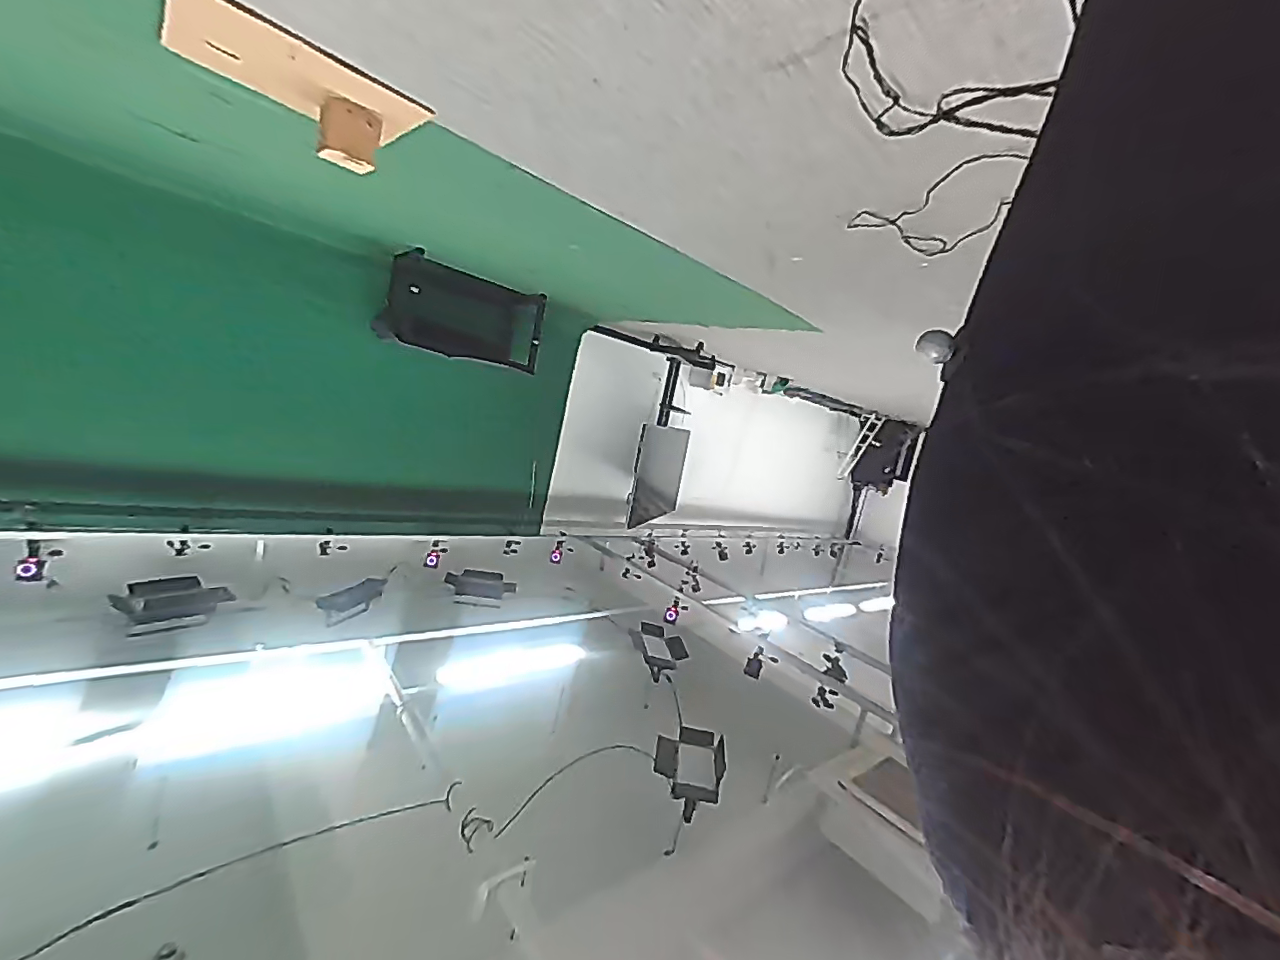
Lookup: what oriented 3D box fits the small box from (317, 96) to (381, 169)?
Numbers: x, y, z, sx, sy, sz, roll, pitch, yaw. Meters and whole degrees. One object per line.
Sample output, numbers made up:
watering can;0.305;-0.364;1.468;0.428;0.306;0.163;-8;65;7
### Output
small box;-1.078;-1.288;2.008;0.168;0.176;0.179;4;-167;-45
